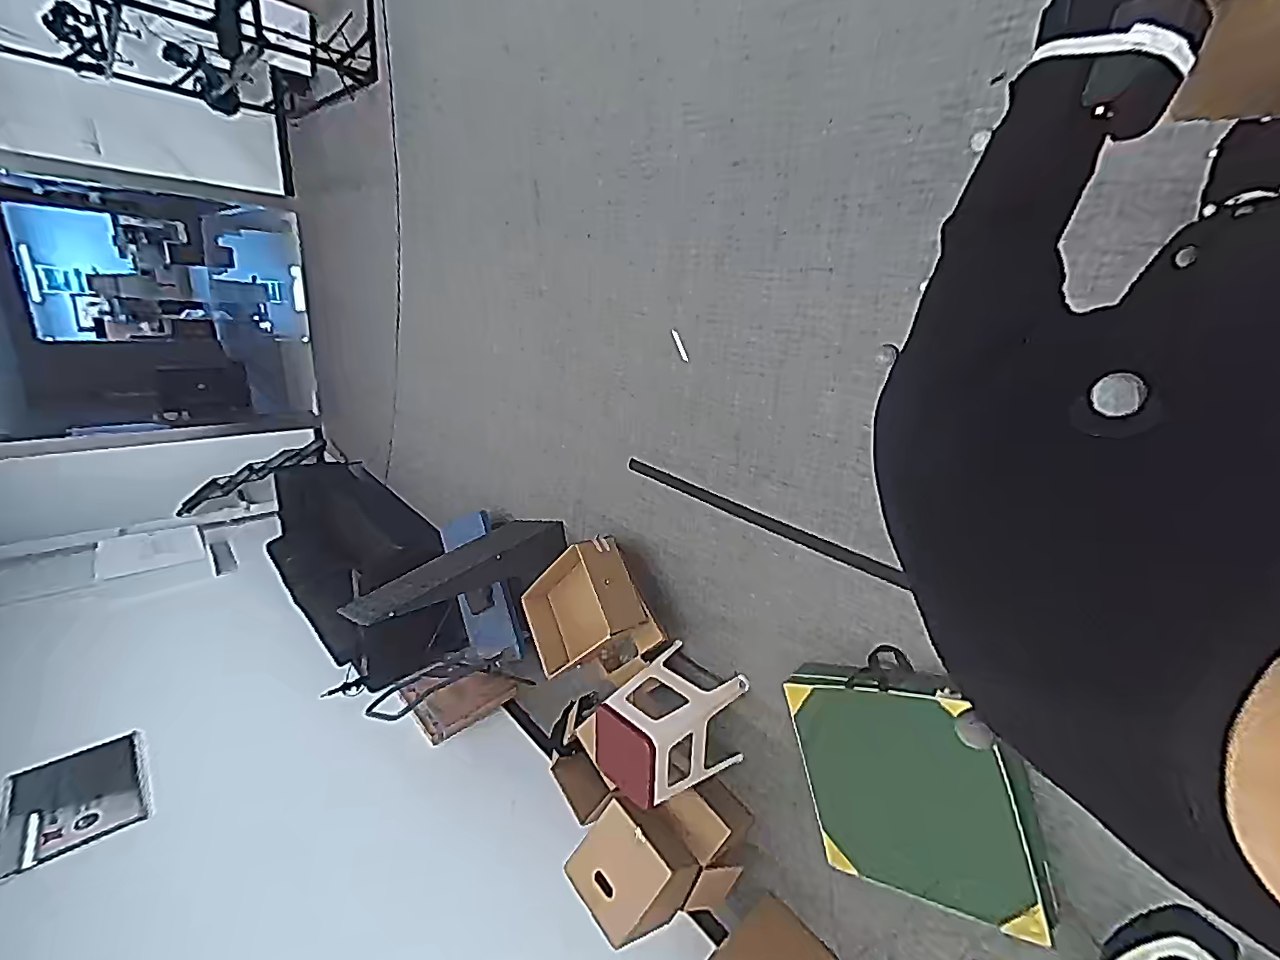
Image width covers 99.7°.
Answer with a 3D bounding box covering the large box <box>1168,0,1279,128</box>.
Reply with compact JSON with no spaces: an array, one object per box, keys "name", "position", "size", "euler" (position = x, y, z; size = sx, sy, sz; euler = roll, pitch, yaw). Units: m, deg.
[{"name":"large box","position":[0.613,-0.420,0.294],"size":[0.408,0.320,0.320],"euler":[25,119,38]}]
